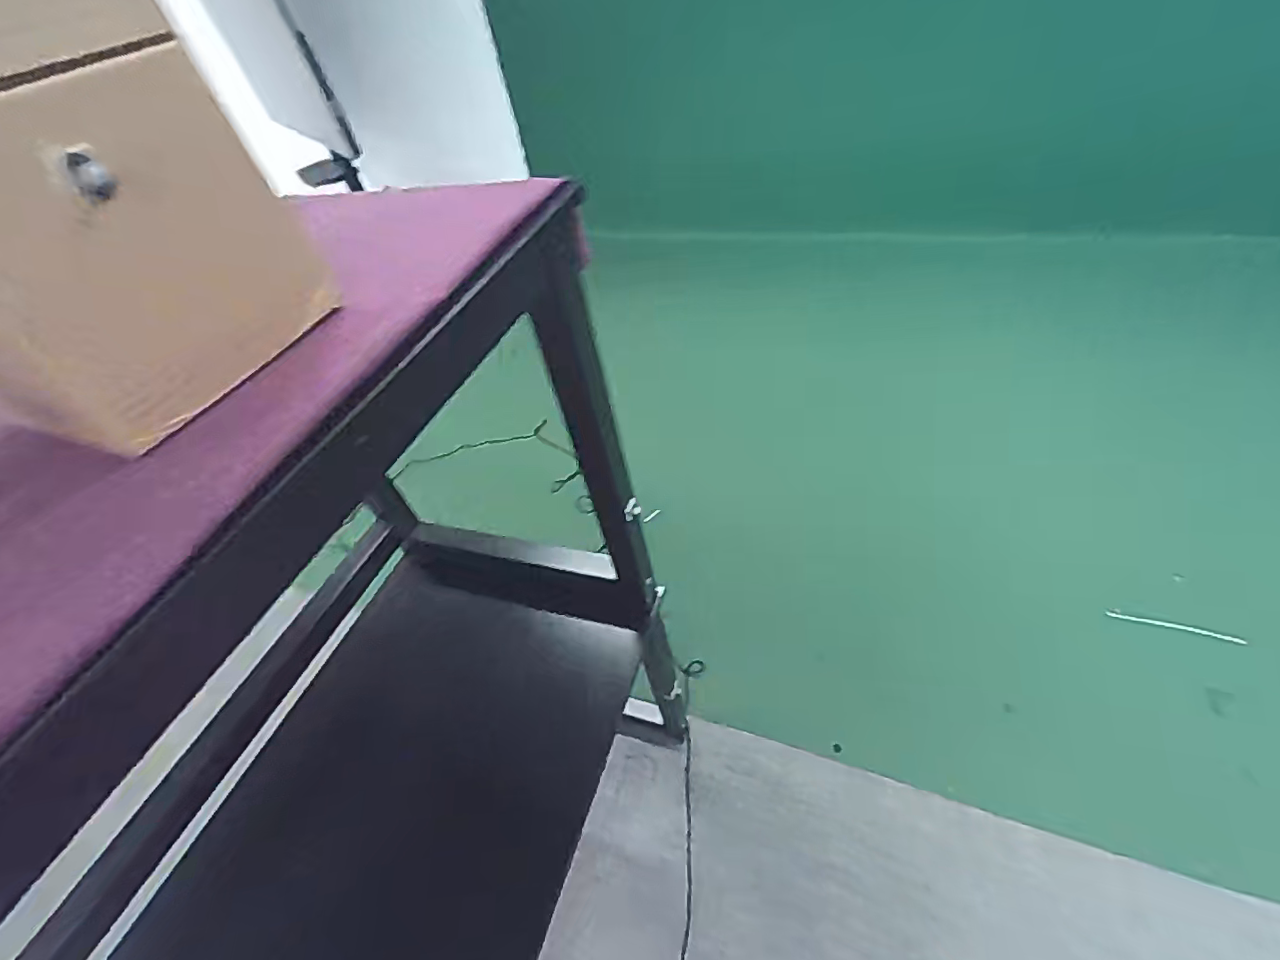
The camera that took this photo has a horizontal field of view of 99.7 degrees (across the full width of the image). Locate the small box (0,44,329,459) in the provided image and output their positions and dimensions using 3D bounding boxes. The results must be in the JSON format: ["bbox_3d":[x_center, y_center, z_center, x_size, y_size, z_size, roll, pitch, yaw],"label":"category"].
[{"bbox_3d":[-0.347,-0.135,0.337,0.168,0.176,0.179,11,51,22],"label":"small box"}]
